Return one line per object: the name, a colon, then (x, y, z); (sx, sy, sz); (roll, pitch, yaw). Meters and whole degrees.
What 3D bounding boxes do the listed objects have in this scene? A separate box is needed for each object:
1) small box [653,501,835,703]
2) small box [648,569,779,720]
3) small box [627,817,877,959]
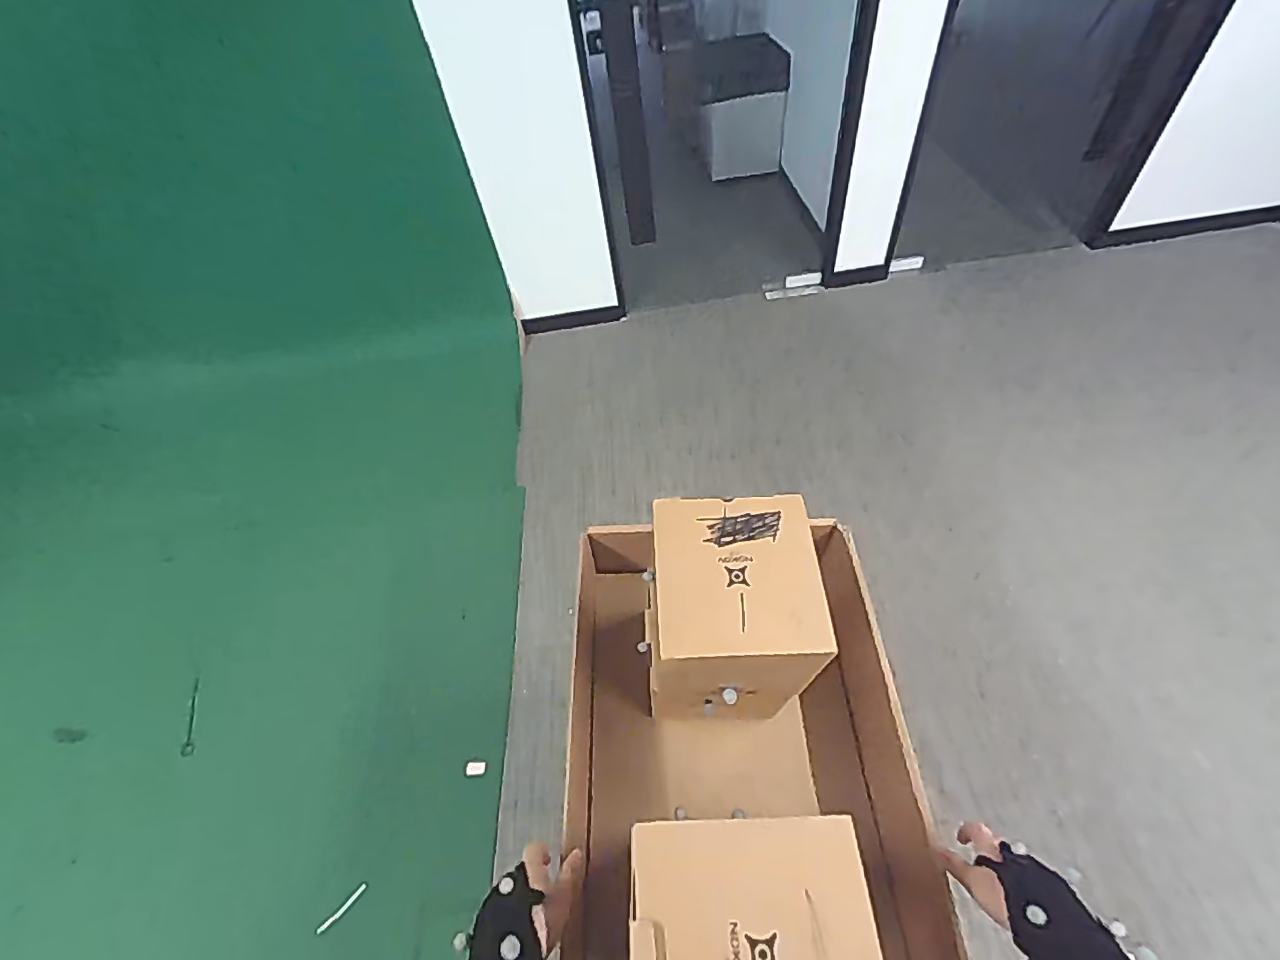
small box: (0.100, 0.141, 0.612); (0.168, 0.176, 0.179); (-2, 56, 0)
small box: (0.101, 0.231, 0.749); (0.179, 0.176, 0.168); (-1, 56, 1)
small box: (0.082, 0.383, 0.447); (0.179, 0.176, 0.168); (-2, 55, -1)
